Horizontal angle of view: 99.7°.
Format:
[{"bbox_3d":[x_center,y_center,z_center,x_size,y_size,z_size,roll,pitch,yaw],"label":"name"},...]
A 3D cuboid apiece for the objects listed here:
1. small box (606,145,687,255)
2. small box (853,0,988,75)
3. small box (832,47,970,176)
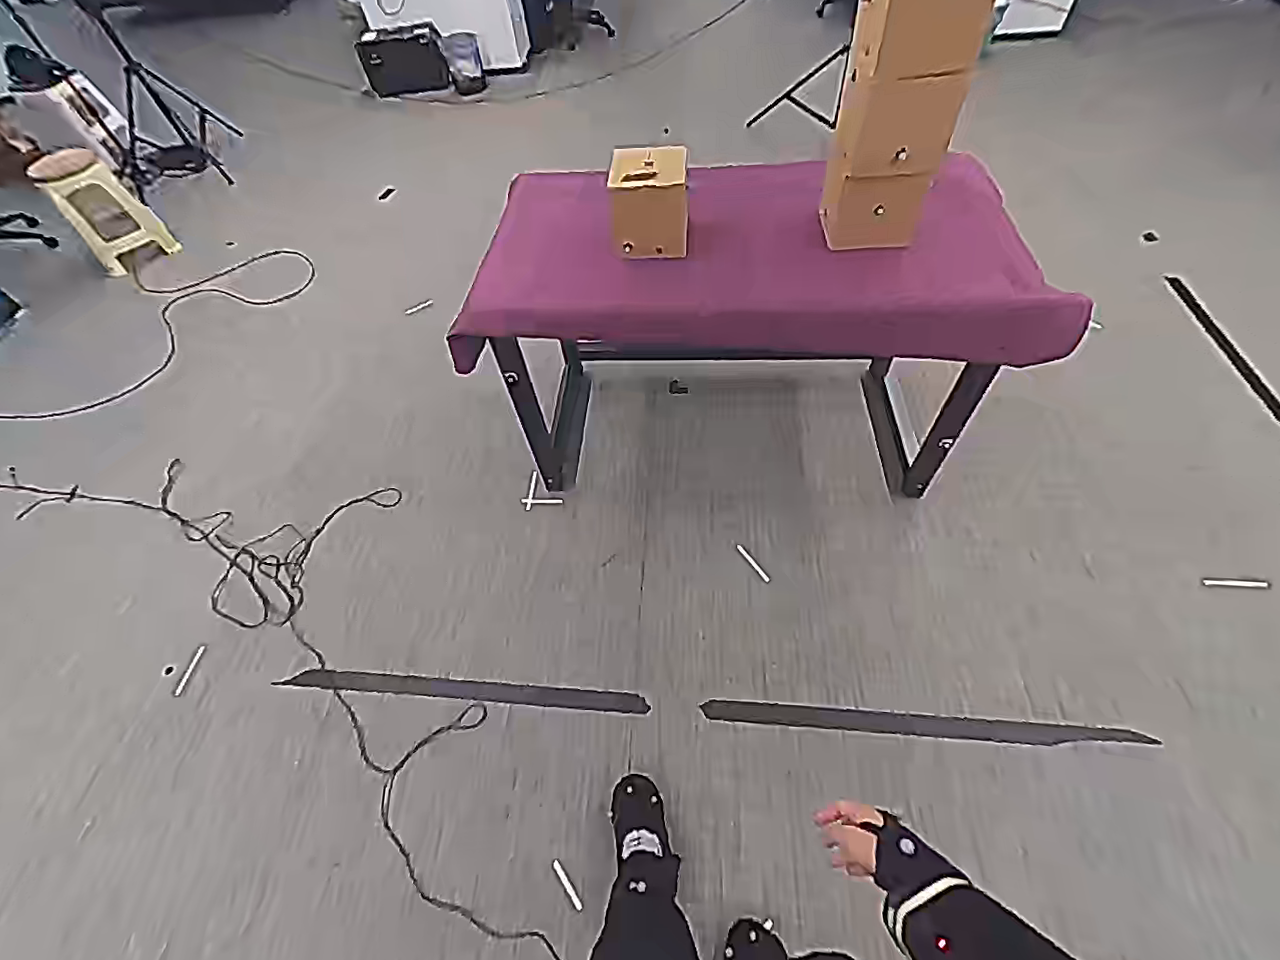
[{"bbox_3d":[0.021,-0.633,1.236,0.168,0.176,0.179,1,54,6],"label":"small box"},{"bbox_3d":[0.477,-0.817,0.921,0.179,0.176,0.168,-3,55,4],"label":"small box"},{"bbox_3d":[0.492,-0.716,1.049,0.179,0.176,0.168,-3,54,3],"label":"small box"}]
